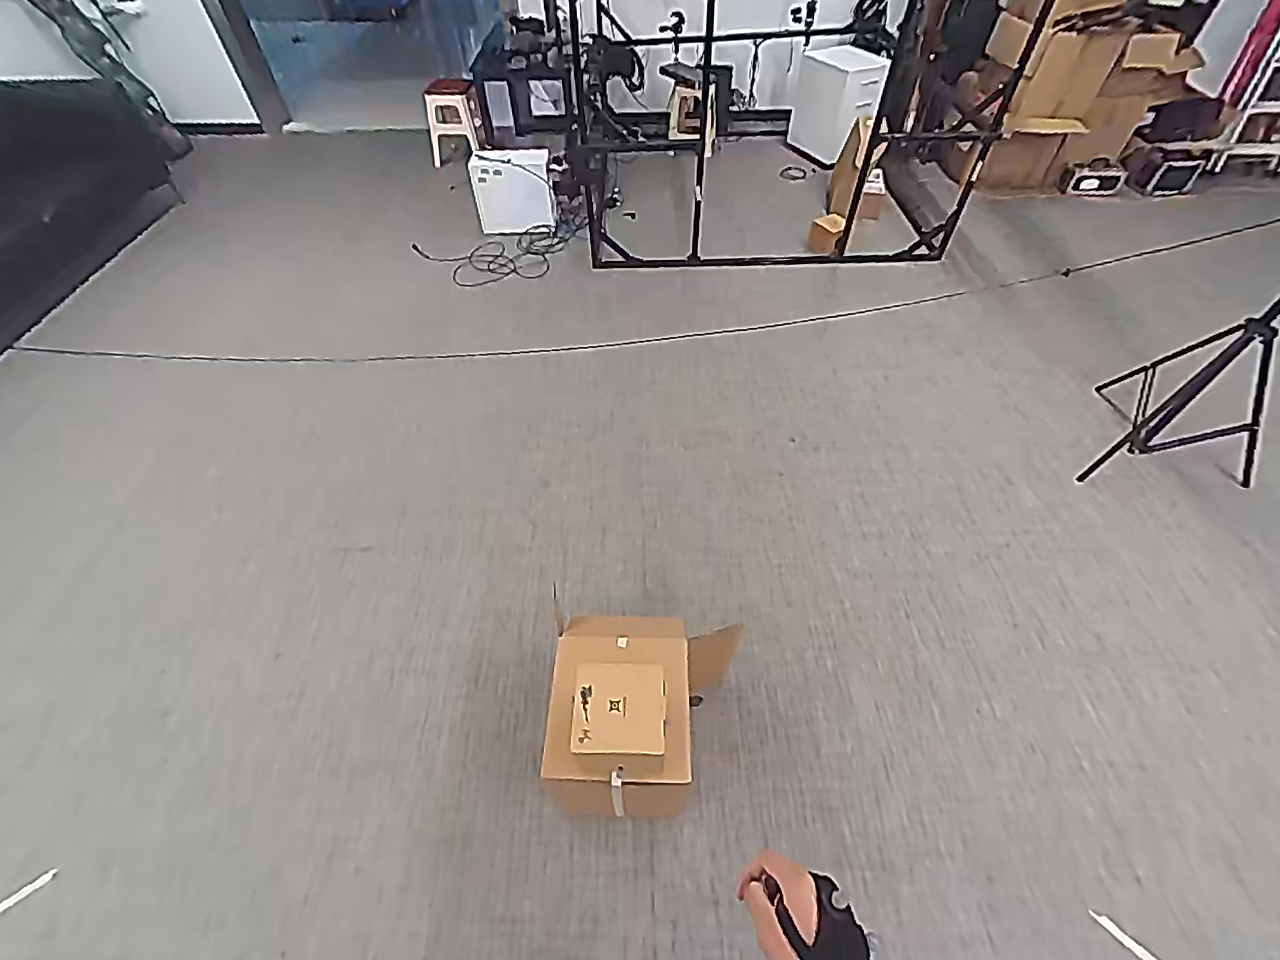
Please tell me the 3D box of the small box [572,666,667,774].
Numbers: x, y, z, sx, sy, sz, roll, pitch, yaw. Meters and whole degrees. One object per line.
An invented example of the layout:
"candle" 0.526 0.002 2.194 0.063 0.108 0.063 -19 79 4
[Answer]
"small box" -0.036 0.491 1.099 0.179 0.176 0.168 1 52 2
